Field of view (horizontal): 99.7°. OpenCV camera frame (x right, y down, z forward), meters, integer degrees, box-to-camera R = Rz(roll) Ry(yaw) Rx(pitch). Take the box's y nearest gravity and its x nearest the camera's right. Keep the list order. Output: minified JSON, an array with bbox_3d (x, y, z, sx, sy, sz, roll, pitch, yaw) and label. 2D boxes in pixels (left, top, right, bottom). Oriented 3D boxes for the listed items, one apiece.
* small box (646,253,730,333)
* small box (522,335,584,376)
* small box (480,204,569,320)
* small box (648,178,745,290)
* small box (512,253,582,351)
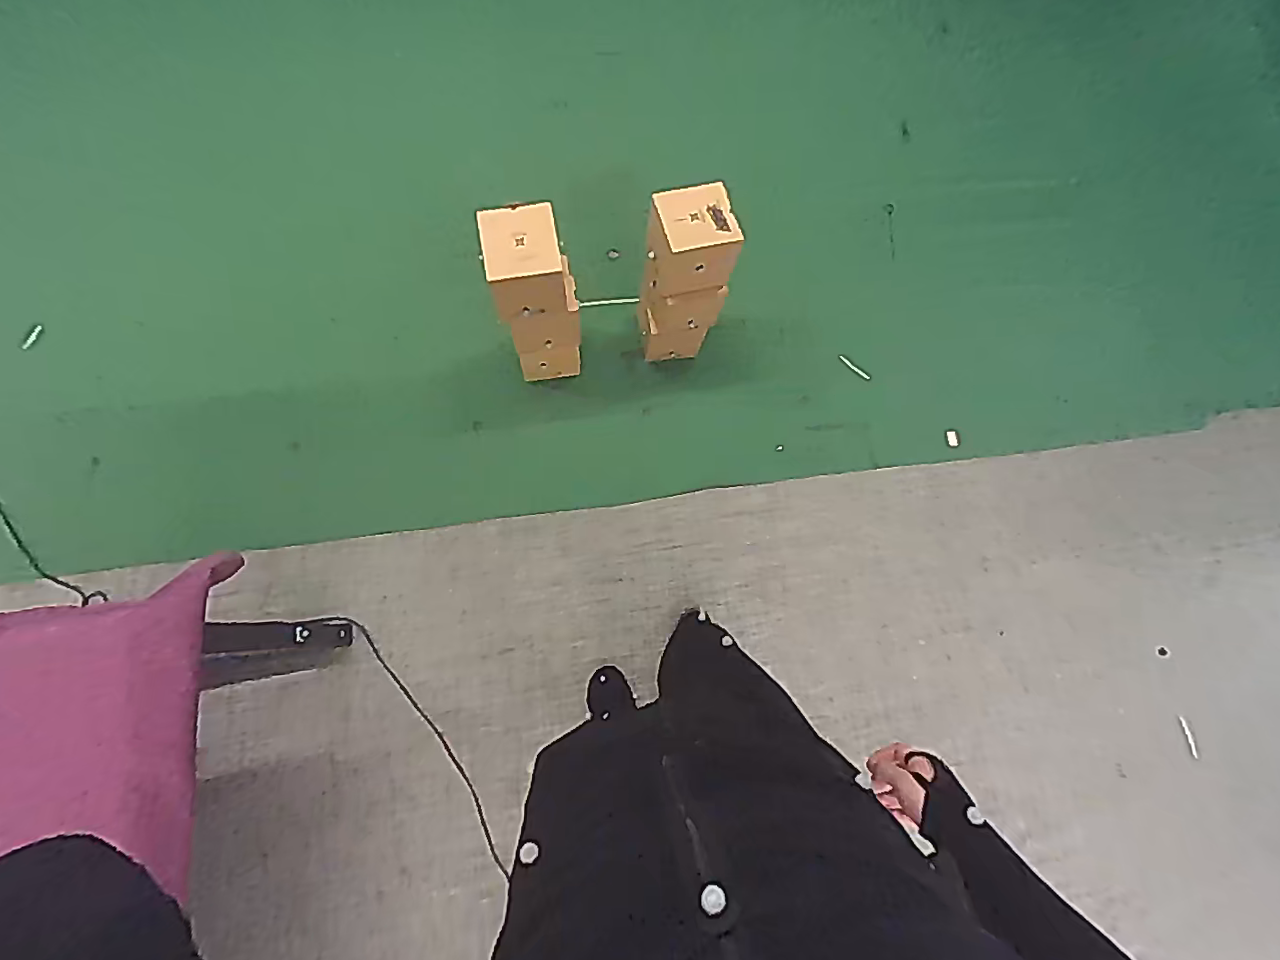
[{"bbox_3d":[0.121,-0.527,1.458,0.168,0.176,0.179,-17,77,-8],"label":"small box"},{"bbox_3d":[-0.259,-0.416,1.569,0.168,0.176,0.179,-9,75,-6],"label":"small box"},{"bbox_3d":[-0.262,-0.500,1.252,0.168,0.176,0.179,-10,76,-5],"label":"small box"},{"bbox_3d":[0.128,-0.587,1.303,0.179,0.176,0.168,-15,77,-8],"label":"small box"},{"bbox_3d":[-0.251,-0.459,1.412,0.179,0.176,0.168,-12,75,-8],"label":"small box"}]
